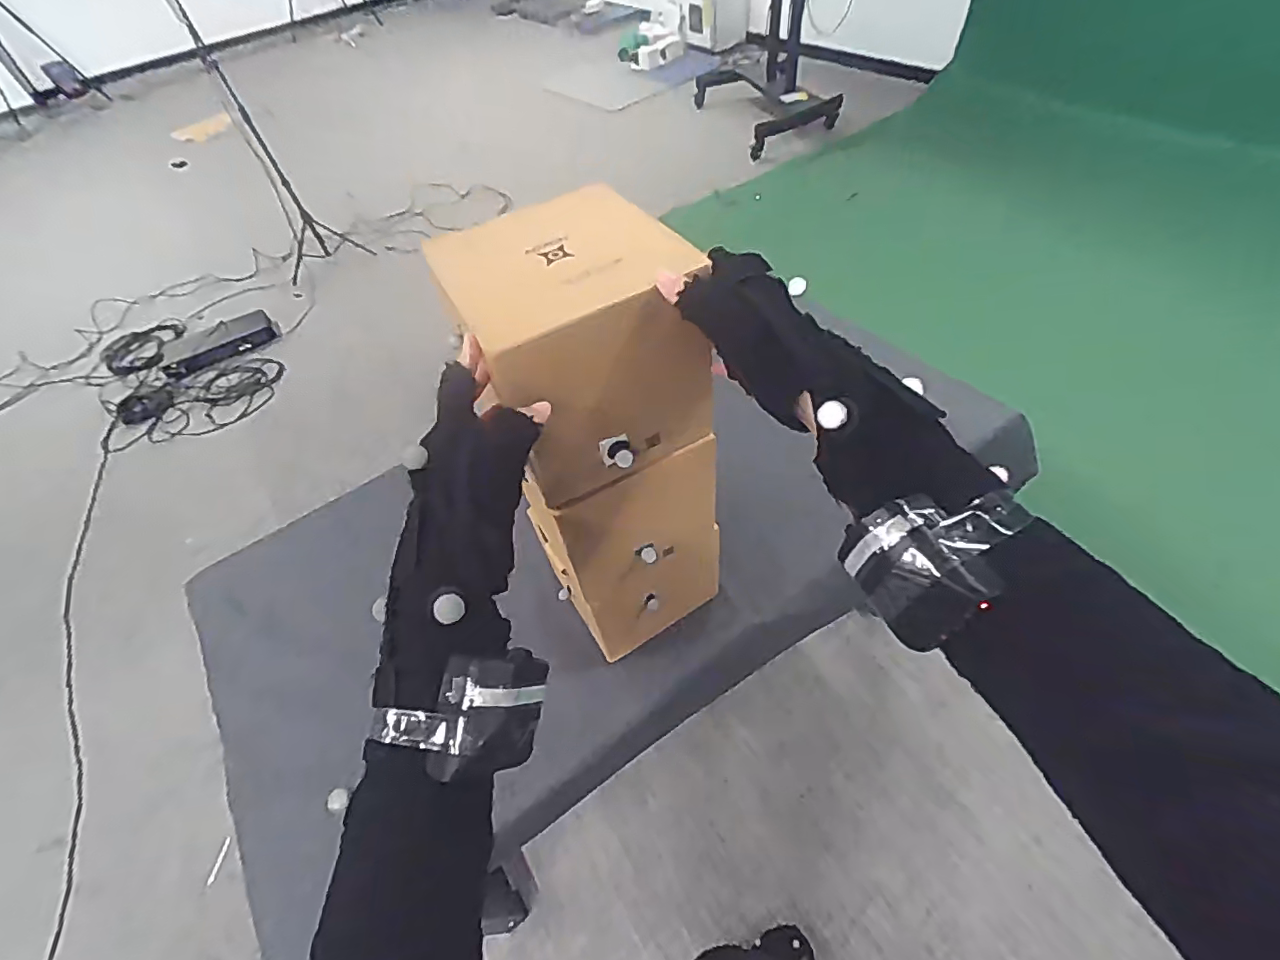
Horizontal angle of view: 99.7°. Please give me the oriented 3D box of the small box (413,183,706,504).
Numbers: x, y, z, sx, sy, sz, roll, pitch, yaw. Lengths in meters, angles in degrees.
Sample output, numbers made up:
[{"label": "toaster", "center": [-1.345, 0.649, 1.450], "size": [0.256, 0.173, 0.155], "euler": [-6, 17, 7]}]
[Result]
[{"label": "small box", "center": [-0.059, -0.113, 0.455], "size": [0.168, 0.176, 0.179], "euler": [-28, 53, -13]}]

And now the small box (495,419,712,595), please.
[{"label": "small box", "center": [-0.038, -0.011, 0.581], "size": [0.168, 0.176, 0.179], "euler": [-29, 52, -15]}]

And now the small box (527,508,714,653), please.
[{"label": "small box", "center": [-0.016, 0.094, 0.705], "size": [0.179, 0.176, 0.168], "euler": [-30, 54, -14]}]
